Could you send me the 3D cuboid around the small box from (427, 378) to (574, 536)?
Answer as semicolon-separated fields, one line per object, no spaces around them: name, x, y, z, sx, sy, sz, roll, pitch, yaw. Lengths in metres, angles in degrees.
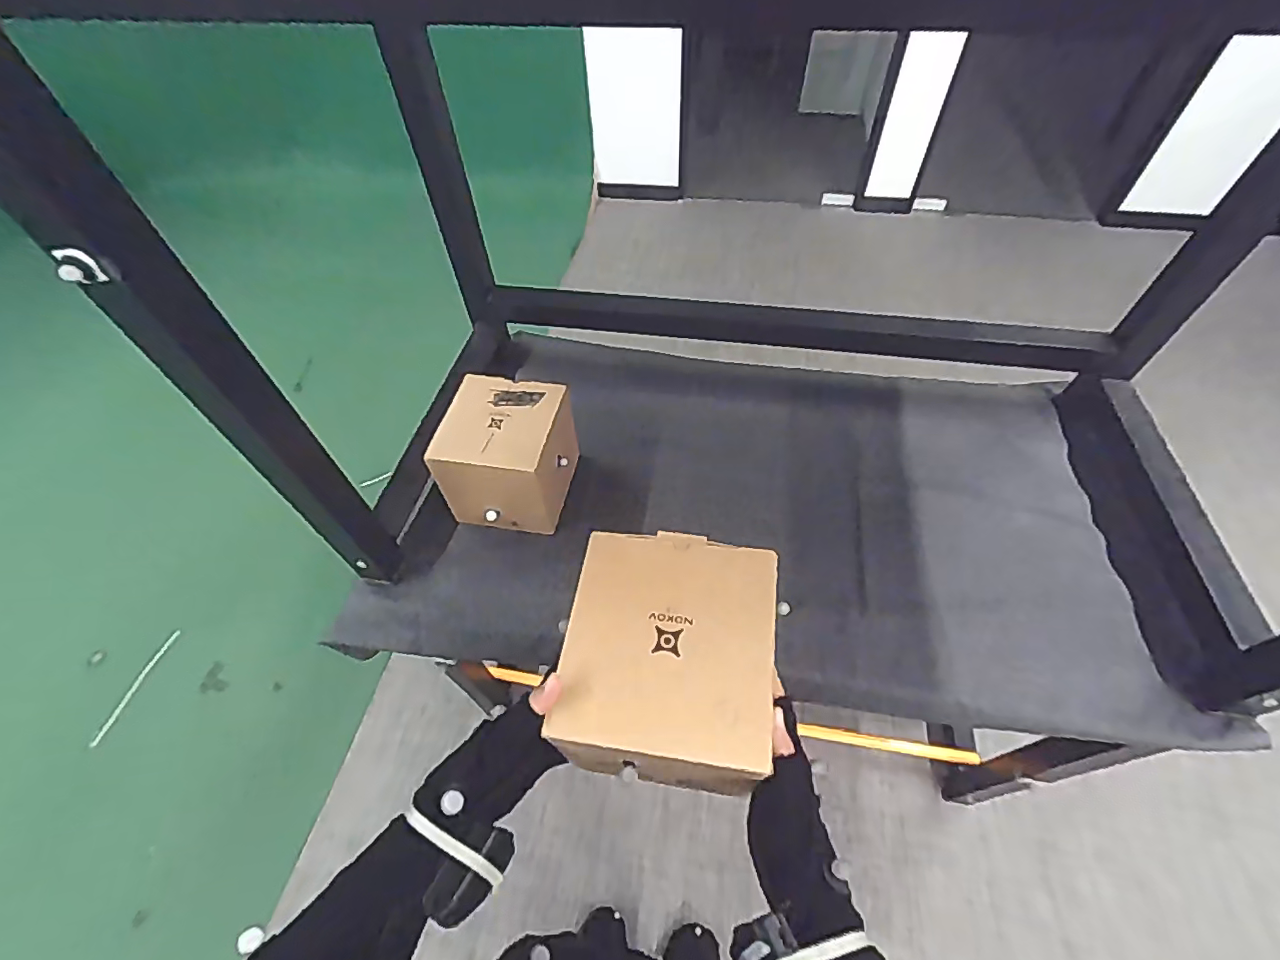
small box;-0.207;-0.036;0.867;0.168;0.176;0.179;7;53;7

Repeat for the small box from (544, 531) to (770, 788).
small box;0.026;0.170;0.503;0.168;0.176;0.179;5;54;8
